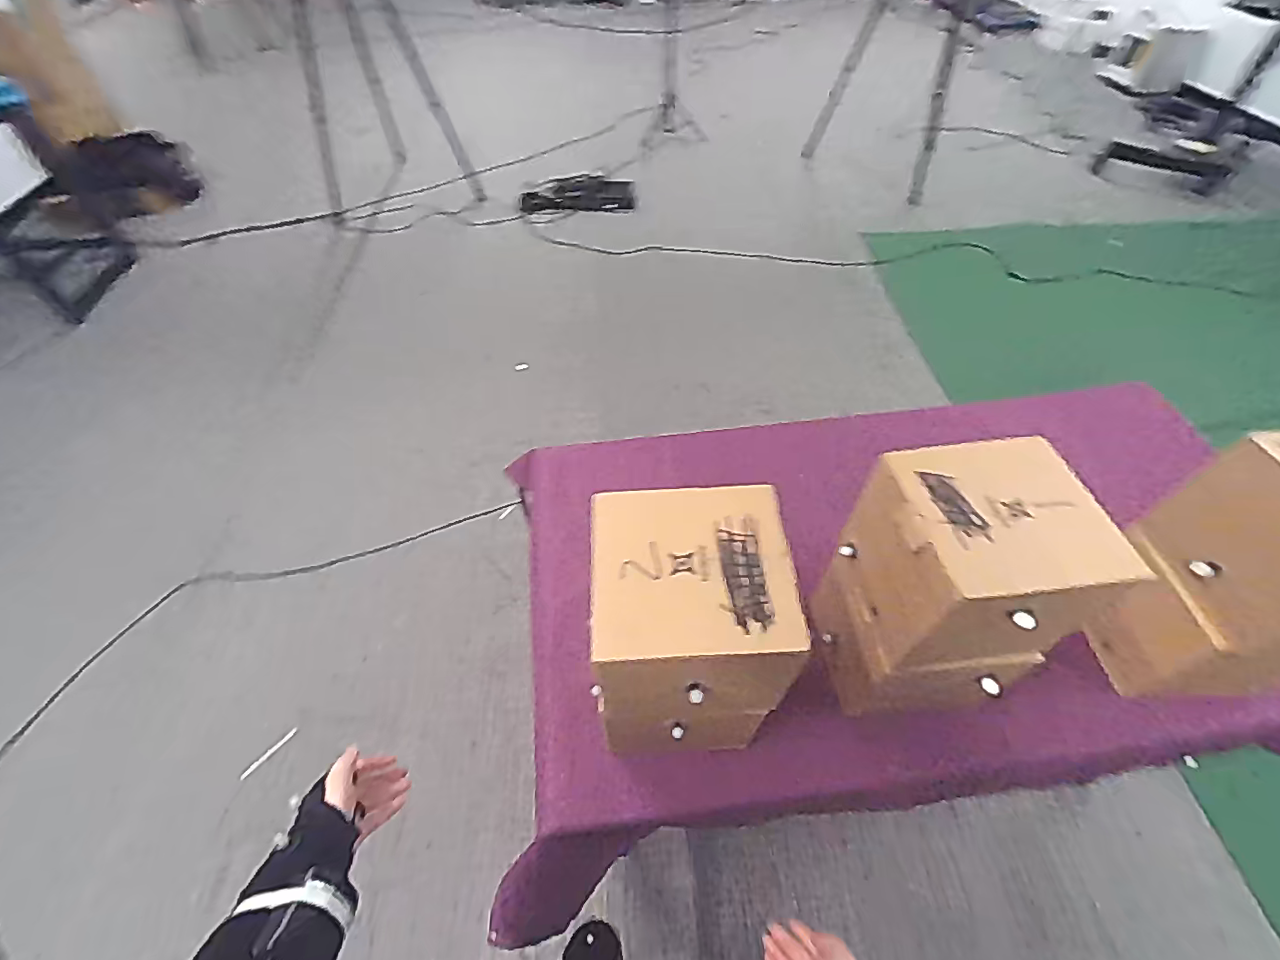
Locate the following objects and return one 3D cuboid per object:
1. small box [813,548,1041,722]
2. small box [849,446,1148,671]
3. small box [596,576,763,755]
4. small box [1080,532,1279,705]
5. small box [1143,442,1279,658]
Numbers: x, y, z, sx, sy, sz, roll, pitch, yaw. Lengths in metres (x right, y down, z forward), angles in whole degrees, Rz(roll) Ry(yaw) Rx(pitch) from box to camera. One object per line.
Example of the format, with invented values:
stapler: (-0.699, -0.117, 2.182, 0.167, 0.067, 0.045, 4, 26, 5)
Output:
small box: (0.341, 0.195, 0.686, 0.179, 0.176, 0.168, -4, 50, -1)
small box: (0.338, 0.086, 0.562, 0.179, 0.176, 0.168, -5, 51, -4)
small box: (0.044, 0.231, 0.665, 0.179, 0.176, 0.168, 0, 52, 1)
small box: (0.706, 0.180, 0.691, 0.179, 0.176, 0.168, 0, 51, 0)
small box: (0.706, 0.076, 0.564, 0.168, 0.176, 0.179, -3, 52, -2)
